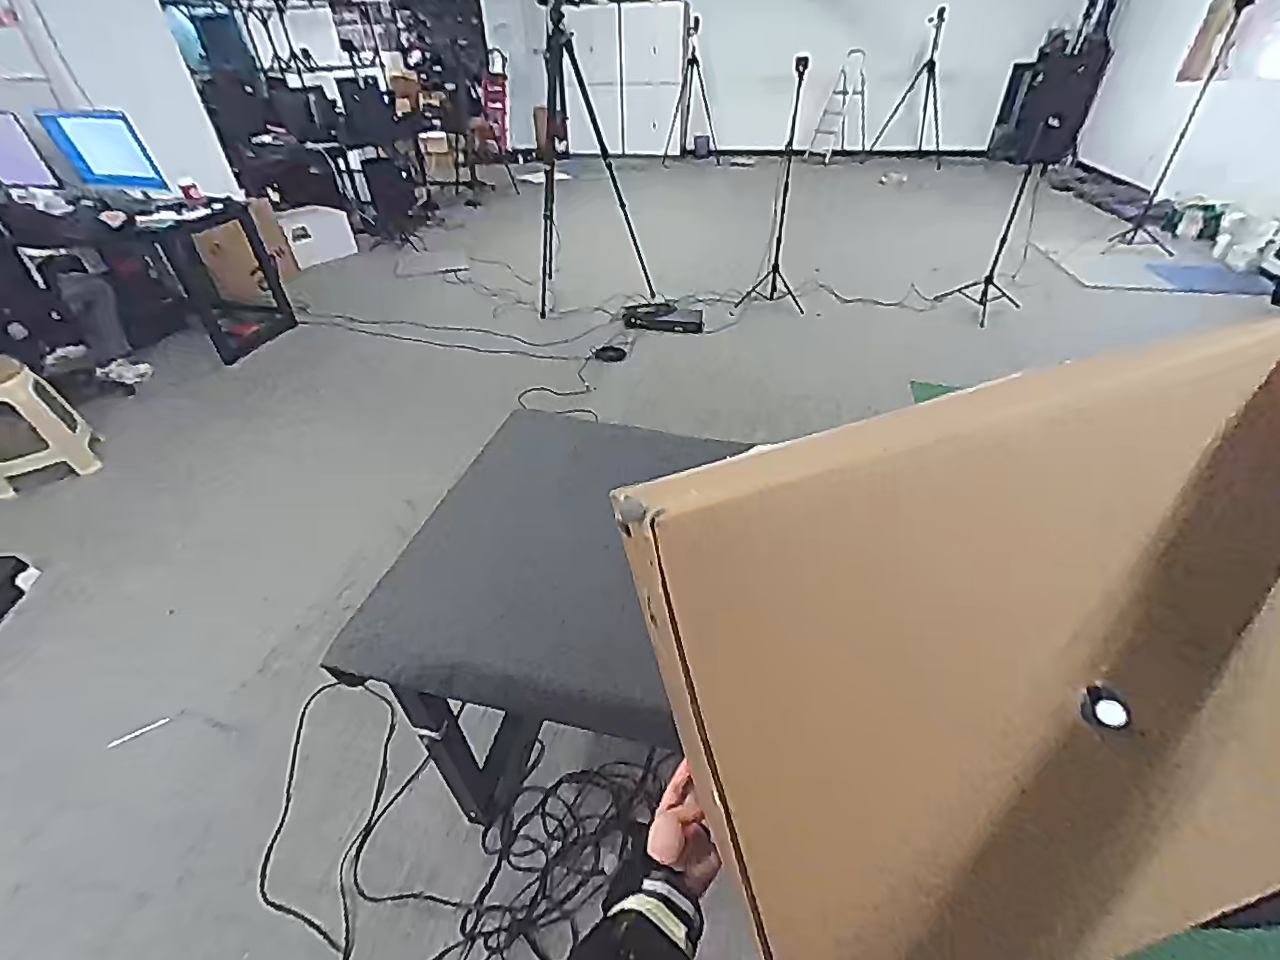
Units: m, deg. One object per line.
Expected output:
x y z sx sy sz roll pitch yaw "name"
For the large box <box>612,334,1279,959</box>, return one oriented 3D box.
0.224 0.113 0.451 0.408 0.320 0.320 -18 2 -7 "large box"
